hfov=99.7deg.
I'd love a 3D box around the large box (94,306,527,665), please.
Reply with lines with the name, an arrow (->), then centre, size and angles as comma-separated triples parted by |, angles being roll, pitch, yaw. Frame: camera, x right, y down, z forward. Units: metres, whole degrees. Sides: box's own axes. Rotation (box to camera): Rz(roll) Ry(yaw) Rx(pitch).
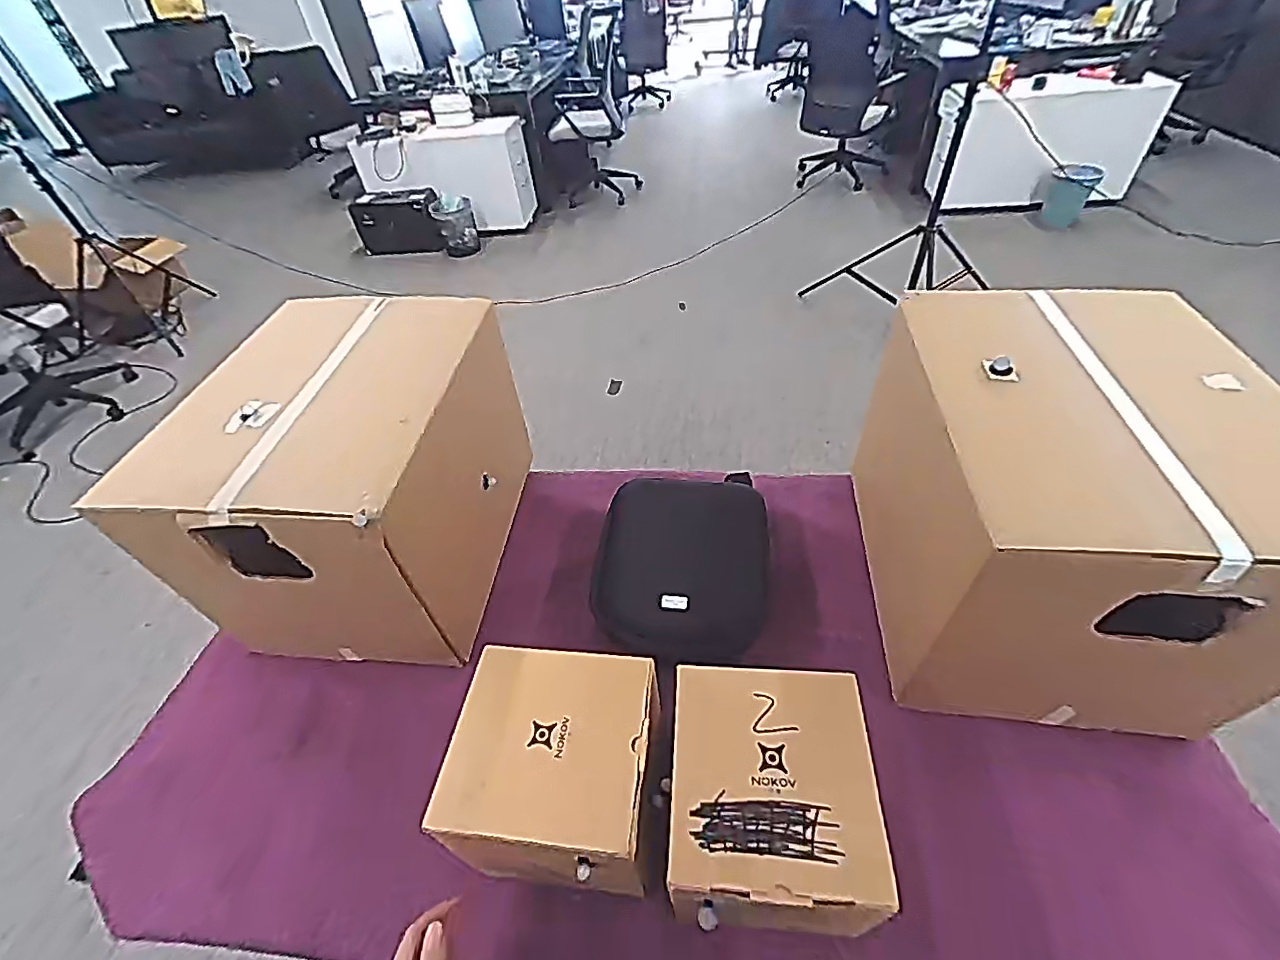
large box -> -0.368, -0.001, 0.757 | 0.320, 0.320, 0.408 | 0, 48, 5
